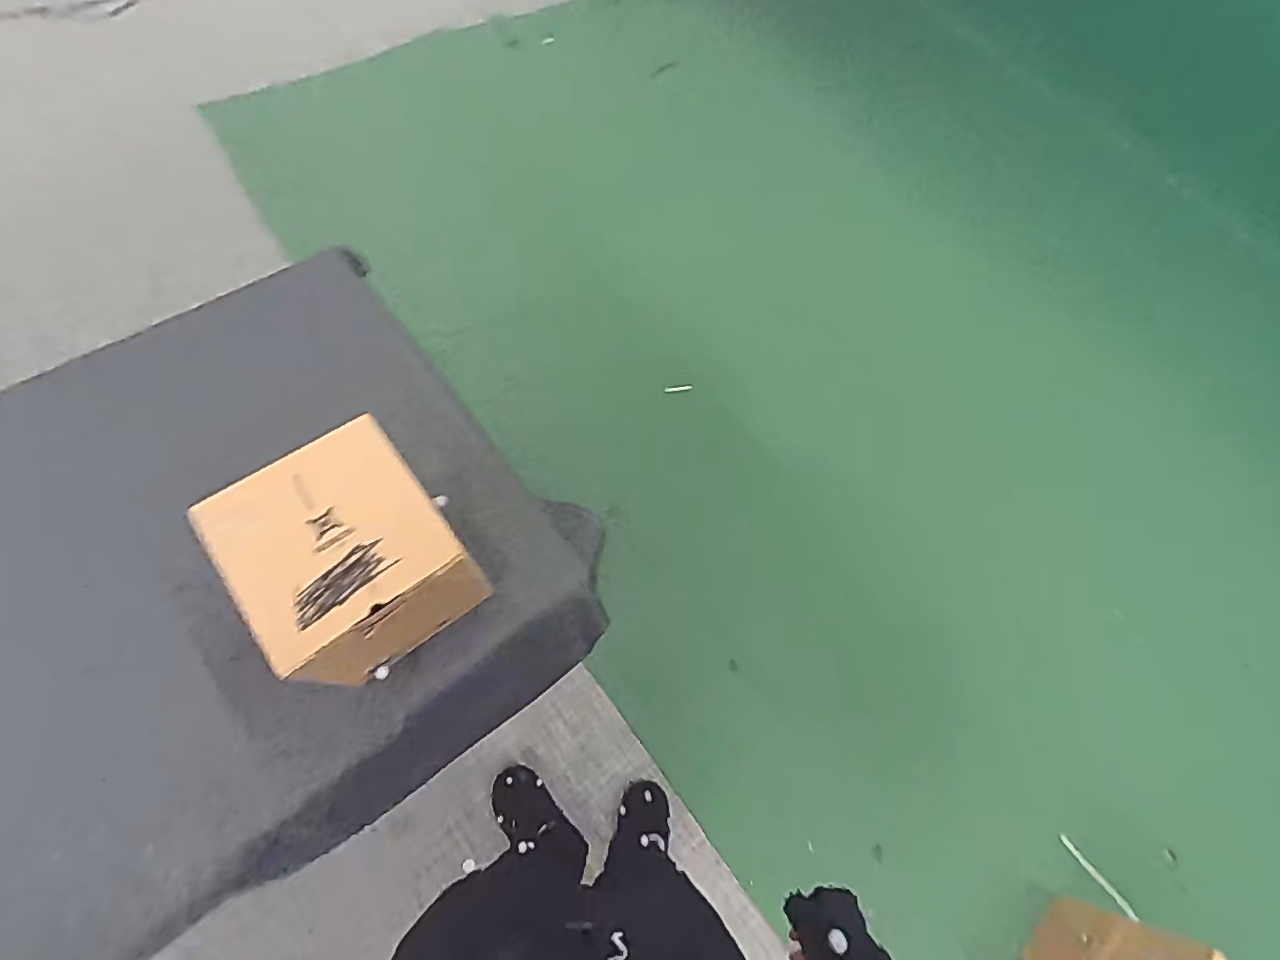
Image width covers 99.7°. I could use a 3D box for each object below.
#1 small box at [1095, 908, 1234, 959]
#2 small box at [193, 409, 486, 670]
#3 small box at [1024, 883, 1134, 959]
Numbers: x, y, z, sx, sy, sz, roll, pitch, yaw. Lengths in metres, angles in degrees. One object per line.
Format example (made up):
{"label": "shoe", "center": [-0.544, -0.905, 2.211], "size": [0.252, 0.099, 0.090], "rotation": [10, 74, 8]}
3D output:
{"label": "small box", "center": [0.965, 0.925, 0.972], "size": [0.179, 0.176, 0.168], "rotation": [-34, 75, -20]}
{"label": "small box", "center": [-0.275, 0.069, 0.539], "size": [0.168, 0.176, 0.179], "rotation": [-35, 75, -18]}
{"label": "small box", "center": [0.944, 0.978, 1.105], "size": [0.179, 0.176, 0.168], "rotation": [-33, 74, -18]}
